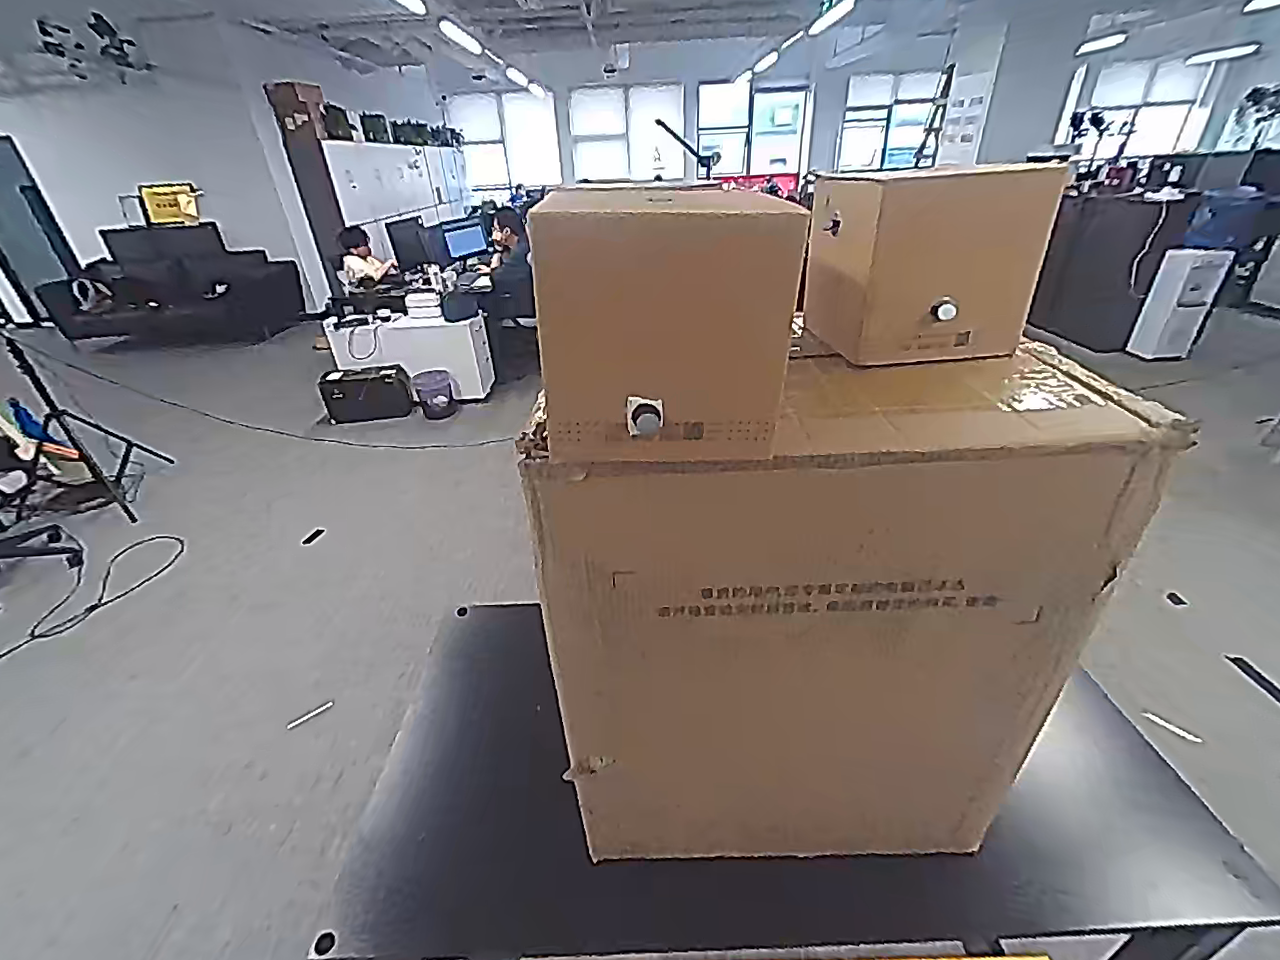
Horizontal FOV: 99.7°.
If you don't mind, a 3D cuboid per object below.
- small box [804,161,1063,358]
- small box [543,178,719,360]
[{"bbox_3d":[0.284,-0.235,0.575,0.168,0.176,0.179,-5,30,-1],"label":"small box"},{"bbox_3d":[-0.009,-0.238,0.605,0.168,0.176,0.179,-3,29,-1],"label":"small box"}]
